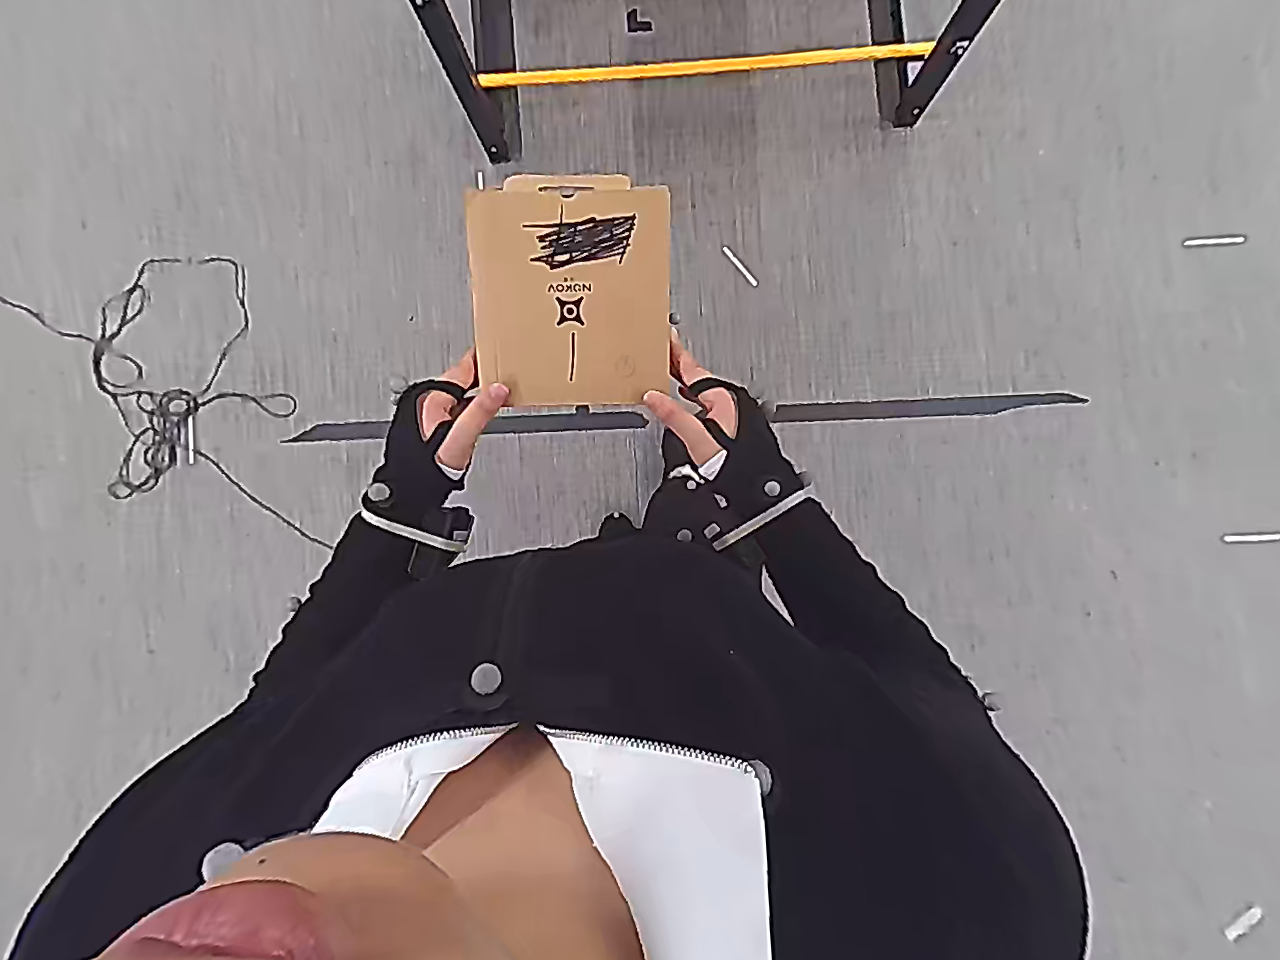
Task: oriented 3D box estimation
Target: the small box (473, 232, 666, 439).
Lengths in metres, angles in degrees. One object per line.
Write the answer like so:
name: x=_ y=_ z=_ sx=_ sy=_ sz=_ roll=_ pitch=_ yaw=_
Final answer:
small box: x=-0.062 y=-0.136 z=0.548 sx=0.168 sy=0.176 sz=0.179 roll=0 pitch=101 yaw=0
